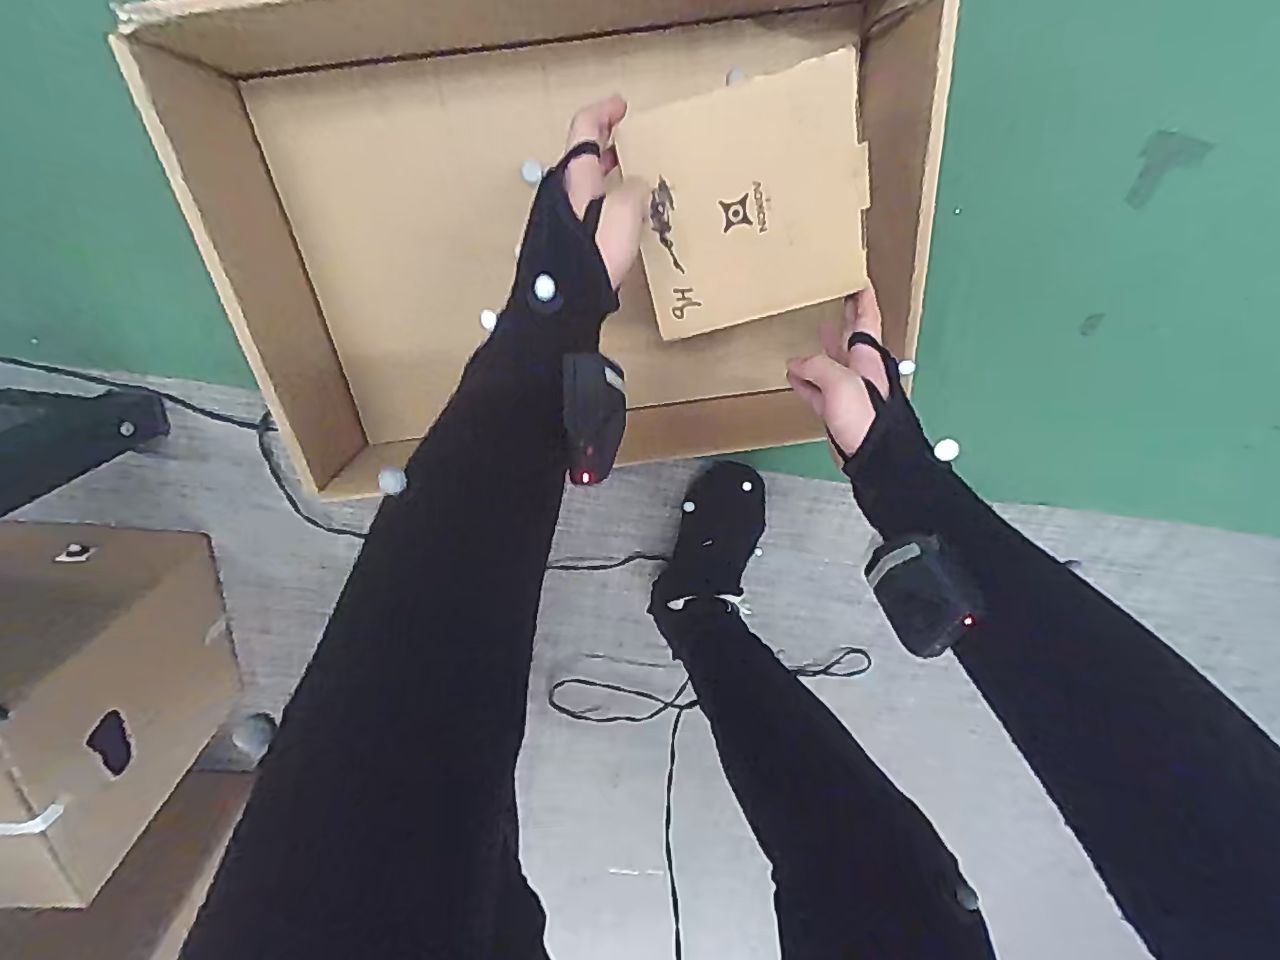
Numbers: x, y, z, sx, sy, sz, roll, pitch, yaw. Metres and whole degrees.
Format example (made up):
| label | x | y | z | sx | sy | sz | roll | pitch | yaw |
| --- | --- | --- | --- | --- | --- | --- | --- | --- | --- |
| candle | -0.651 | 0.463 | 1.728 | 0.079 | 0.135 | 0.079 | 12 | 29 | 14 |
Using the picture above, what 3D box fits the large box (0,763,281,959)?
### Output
| label | x | y | z | sx | sy | sz | roll | pitch | yaw |
| --- | --- | --- | --- | --- | --- | --- | --- | --- | --- |
| large box | -0.884 | 0.699 | 0.870 | 0.408 | 0.320 | 0.320 | 8 | 115 | -7 |
